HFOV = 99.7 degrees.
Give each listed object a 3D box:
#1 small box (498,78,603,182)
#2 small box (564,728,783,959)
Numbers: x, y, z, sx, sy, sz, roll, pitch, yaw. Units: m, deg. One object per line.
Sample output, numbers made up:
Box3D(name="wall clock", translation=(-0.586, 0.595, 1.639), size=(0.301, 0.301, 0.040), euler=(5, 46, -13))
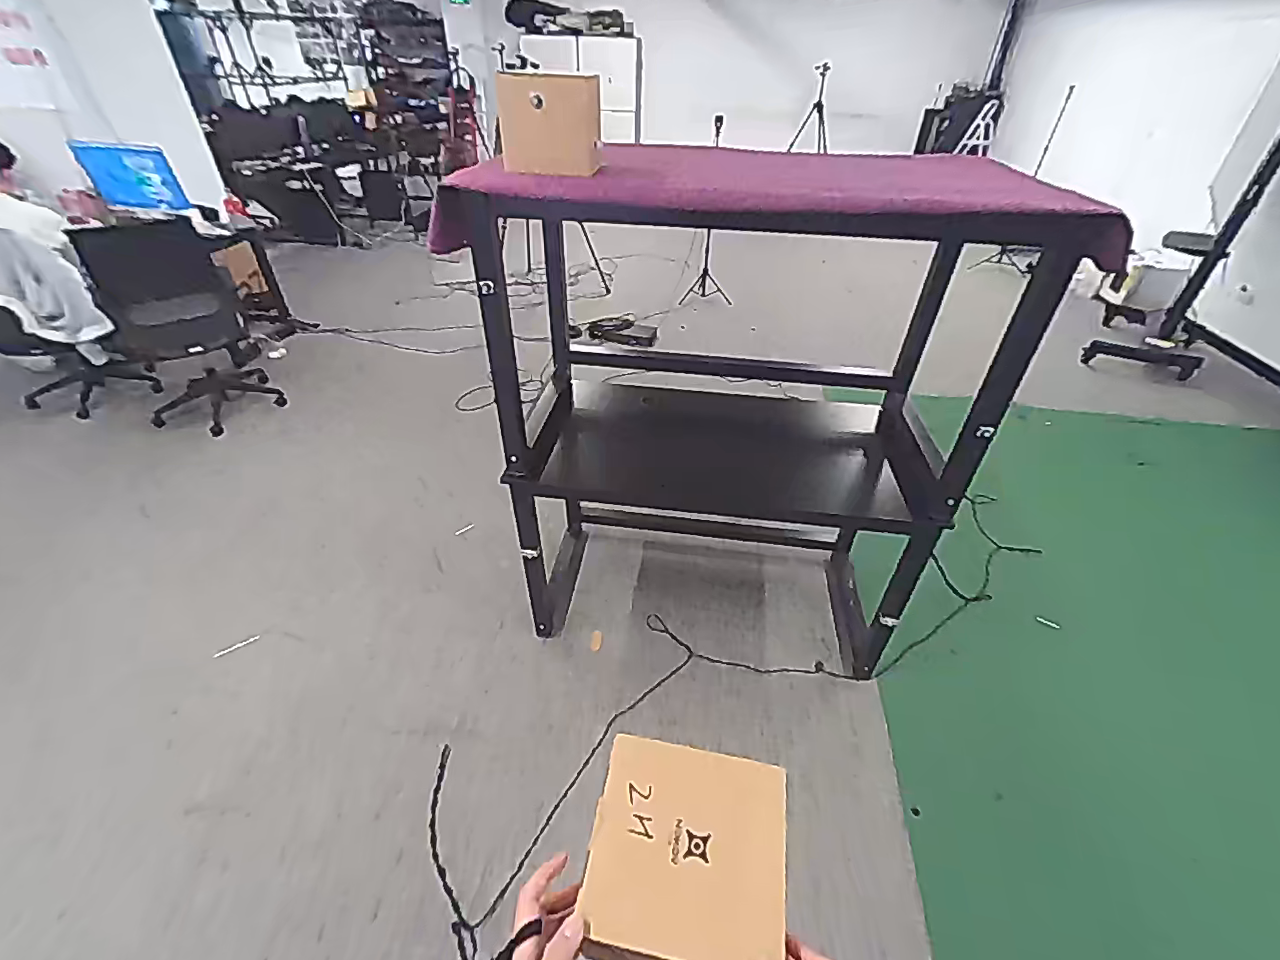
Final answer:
Box3D(name="small box", translation=(-0.174, -0.718, 1.110), size=(0.179, 0.176, 0.168), euler=(5, 38, 3))
Box3D(name="small box", translation=(0.039, 0.379, 0.540), size=(0.179, 0.176, 0.168), euler=(8, 43, 9))
